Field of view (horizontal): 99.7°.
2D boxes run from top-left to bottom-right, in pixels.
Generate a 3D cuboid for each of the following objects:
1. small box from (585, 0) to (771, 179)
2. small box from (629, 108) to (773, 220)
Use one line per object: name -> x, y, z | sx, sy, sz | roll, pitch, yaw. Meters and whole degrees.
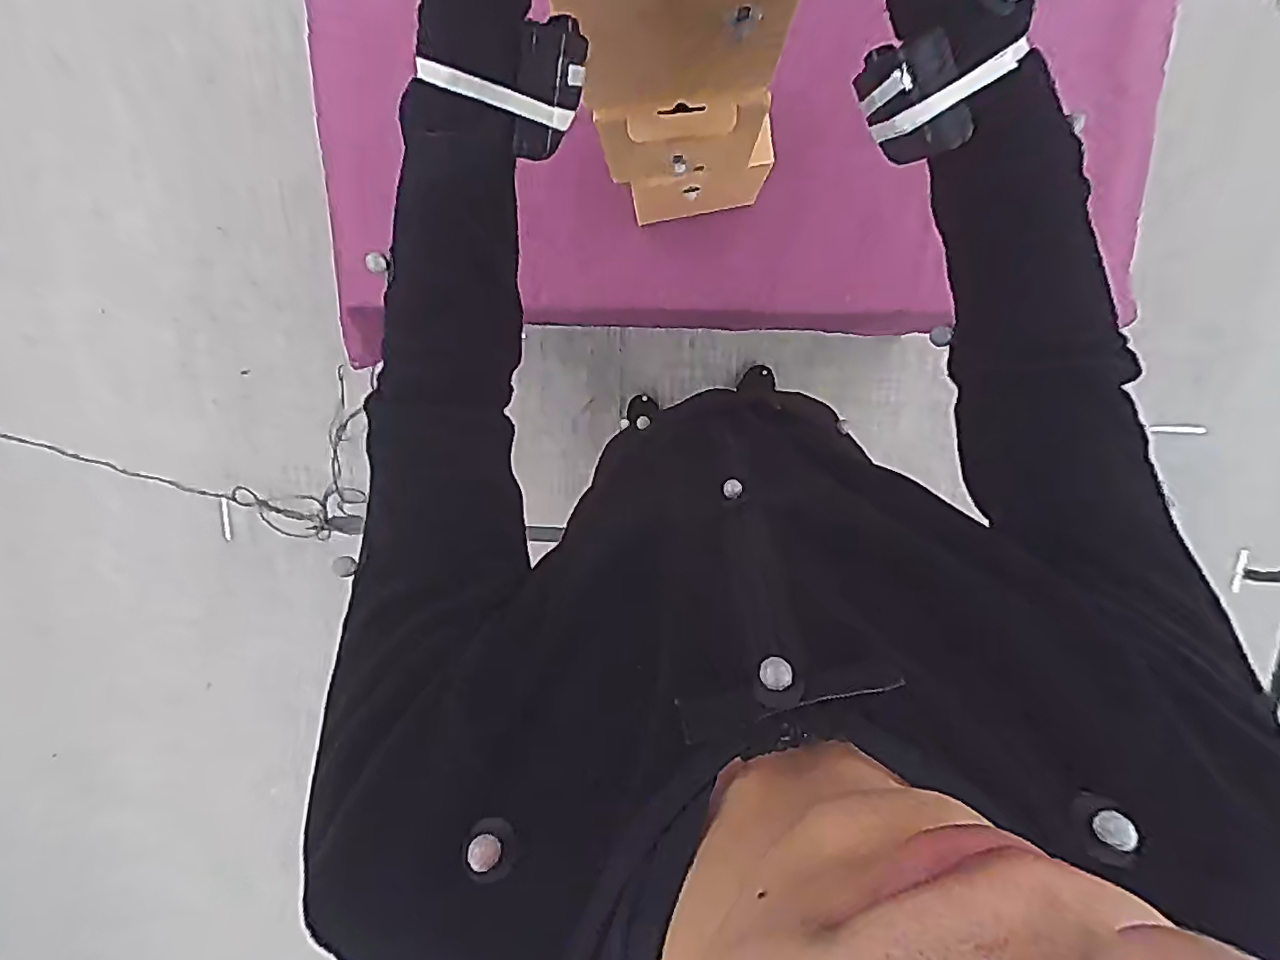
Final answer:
small box -> 0.036, -0.438, 0.554 | 0.168, 0.176, 0.179 | -3, 101, 5
small box -> 0.066, -0.463, 0.716 | 0.179, 0.176, 0.168 | -9, 101, 4
